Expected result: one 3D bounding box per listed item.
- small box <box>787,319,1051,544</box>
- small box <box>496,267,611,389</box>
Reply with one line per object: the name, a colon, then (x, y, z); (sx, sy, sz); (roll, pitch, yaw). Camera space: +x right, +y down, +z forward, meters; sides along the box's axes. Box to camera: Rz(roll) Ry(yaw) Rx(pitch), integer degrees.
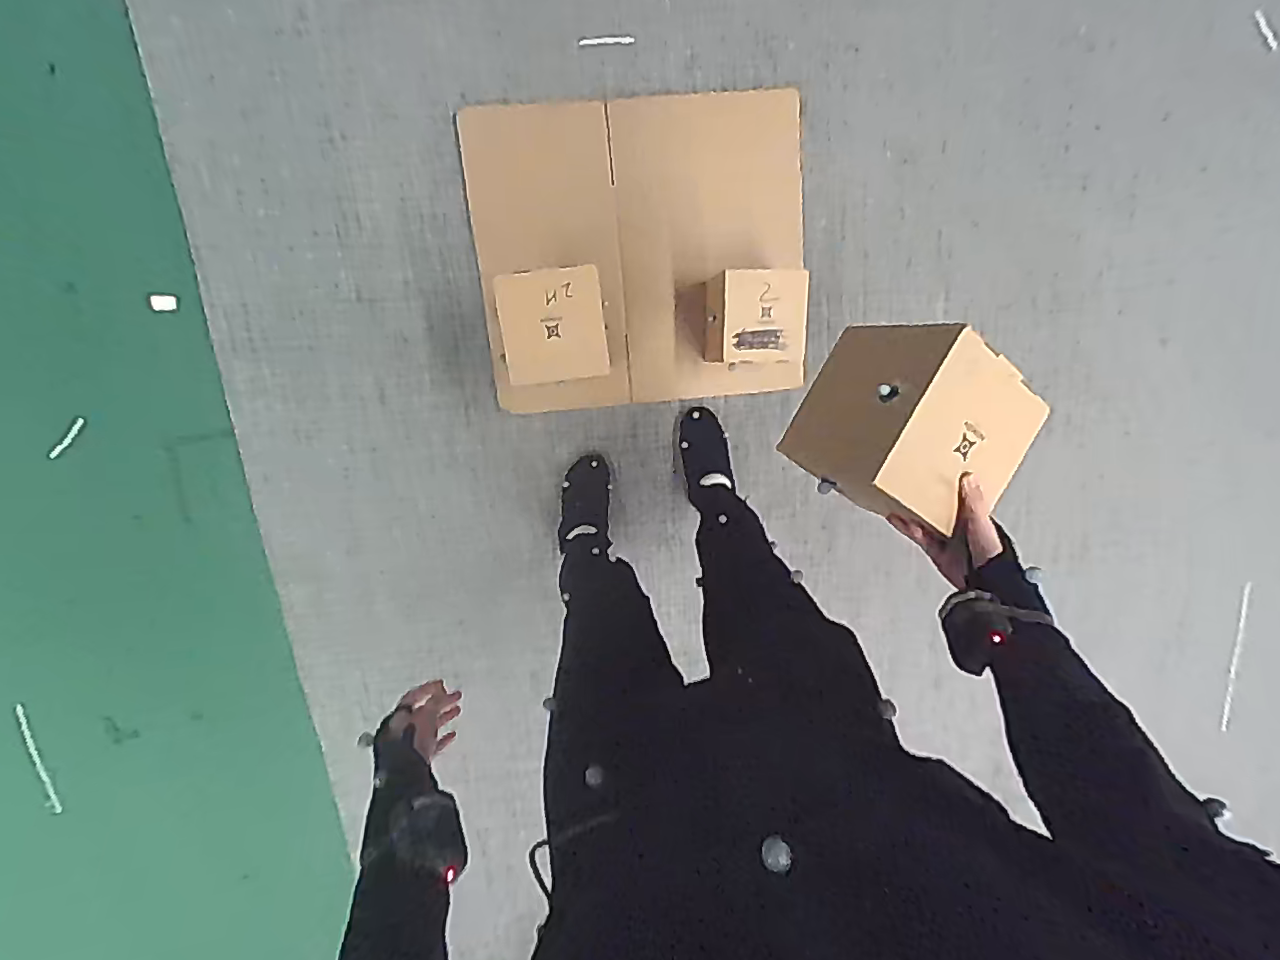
small box: (0.300, -0.059, 0.611); (0.168, 0.176, 0.179); (29, 92, -24)
small box: (-0.140, -0.259, 0.935); (0.168, 0.176, 0.179); (-7, 103, -4)
